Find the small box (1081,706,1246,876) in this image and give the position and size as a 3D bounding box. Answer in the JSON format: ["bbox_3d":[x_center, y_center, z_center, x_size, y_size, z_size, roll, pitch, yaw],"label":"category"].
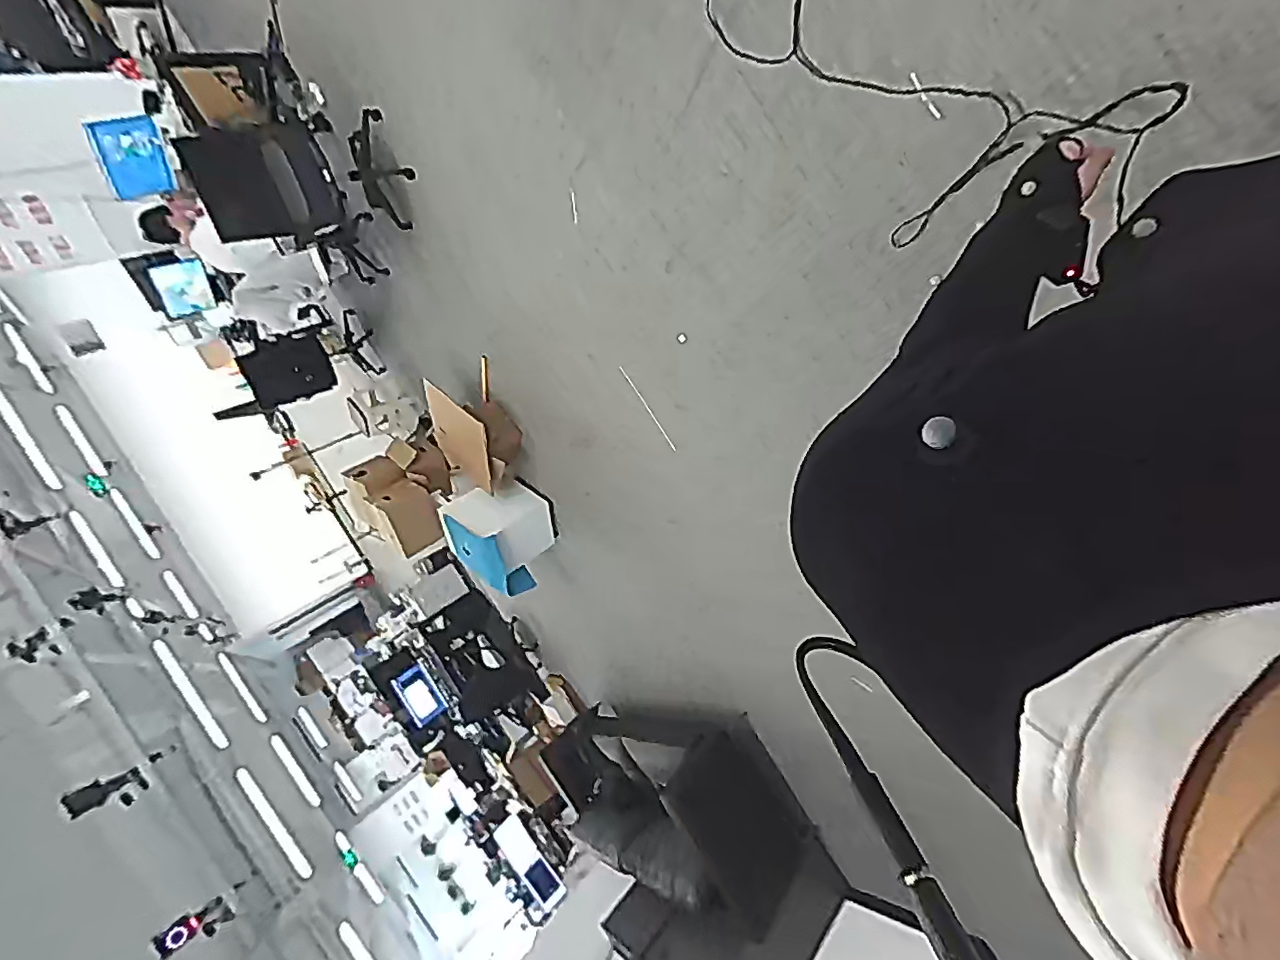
[{"bbox_3d":[0.921,0.529,0.952,0.168,0.176,0.179,-19,102,54],"label":"small box"}]
